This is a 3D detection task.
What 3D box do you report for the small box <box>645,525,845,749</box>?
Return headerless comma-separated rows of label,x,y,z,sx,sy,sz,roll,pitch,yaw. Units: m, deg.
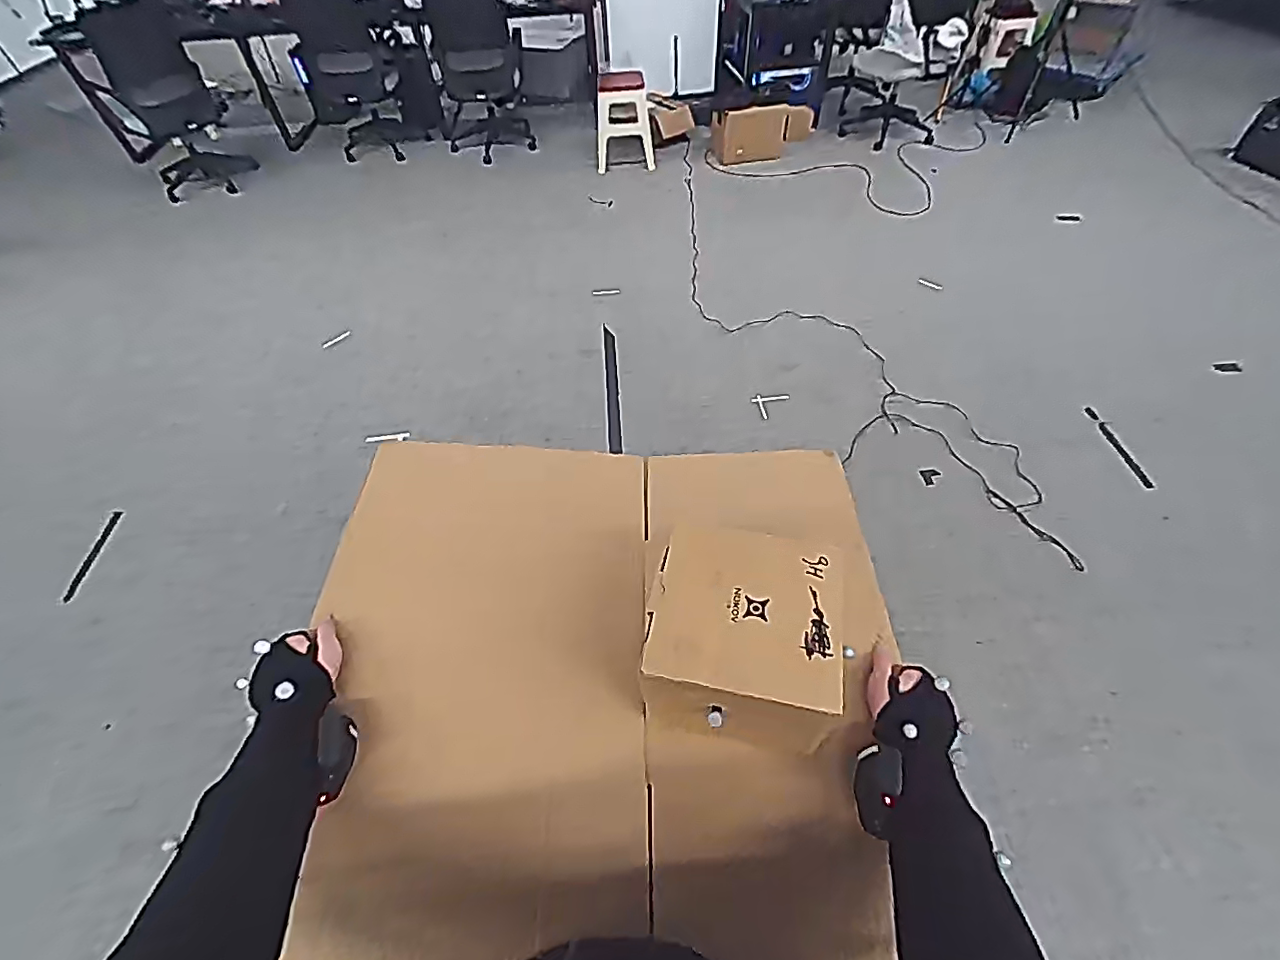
small box,0.114,0.171,0.581,0.179,0.176,0.168,7,53,12
